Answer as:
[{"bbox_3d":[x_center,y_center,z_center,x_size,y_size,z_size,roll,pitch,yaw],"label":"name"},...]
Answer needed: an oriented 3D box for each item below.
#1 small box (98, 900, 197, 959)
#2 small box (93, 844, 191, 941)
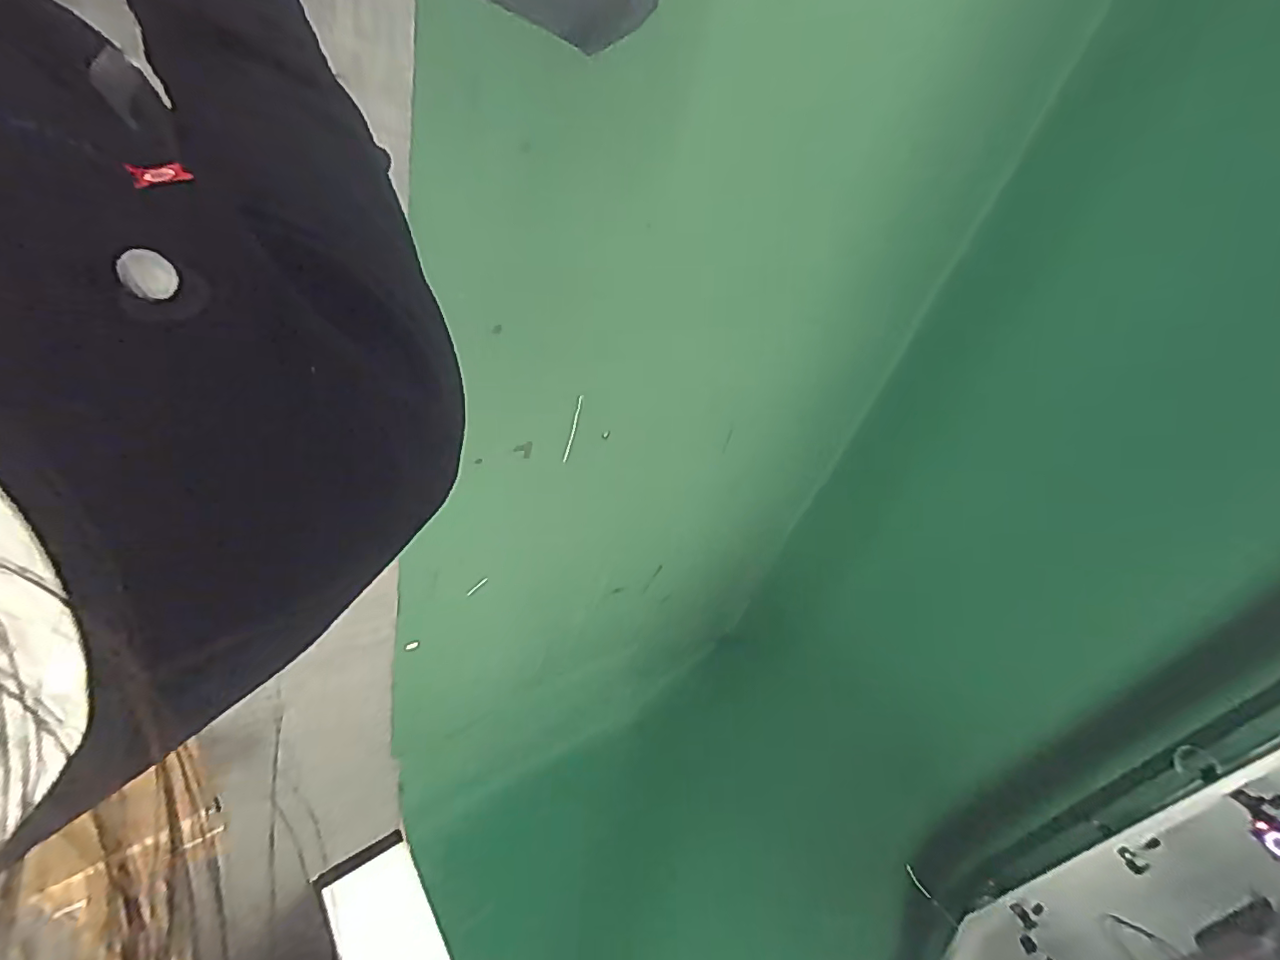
[{"bbox_3d":[-1.383,1.335,1.521,0.168,0.176,0.179,-19,137,-36],"label":"small box"},{"bbox_3d":[-1.479,1.234,1.606,0.179,0.176,0.168,-18,137,-35],"label":"small box"}]
